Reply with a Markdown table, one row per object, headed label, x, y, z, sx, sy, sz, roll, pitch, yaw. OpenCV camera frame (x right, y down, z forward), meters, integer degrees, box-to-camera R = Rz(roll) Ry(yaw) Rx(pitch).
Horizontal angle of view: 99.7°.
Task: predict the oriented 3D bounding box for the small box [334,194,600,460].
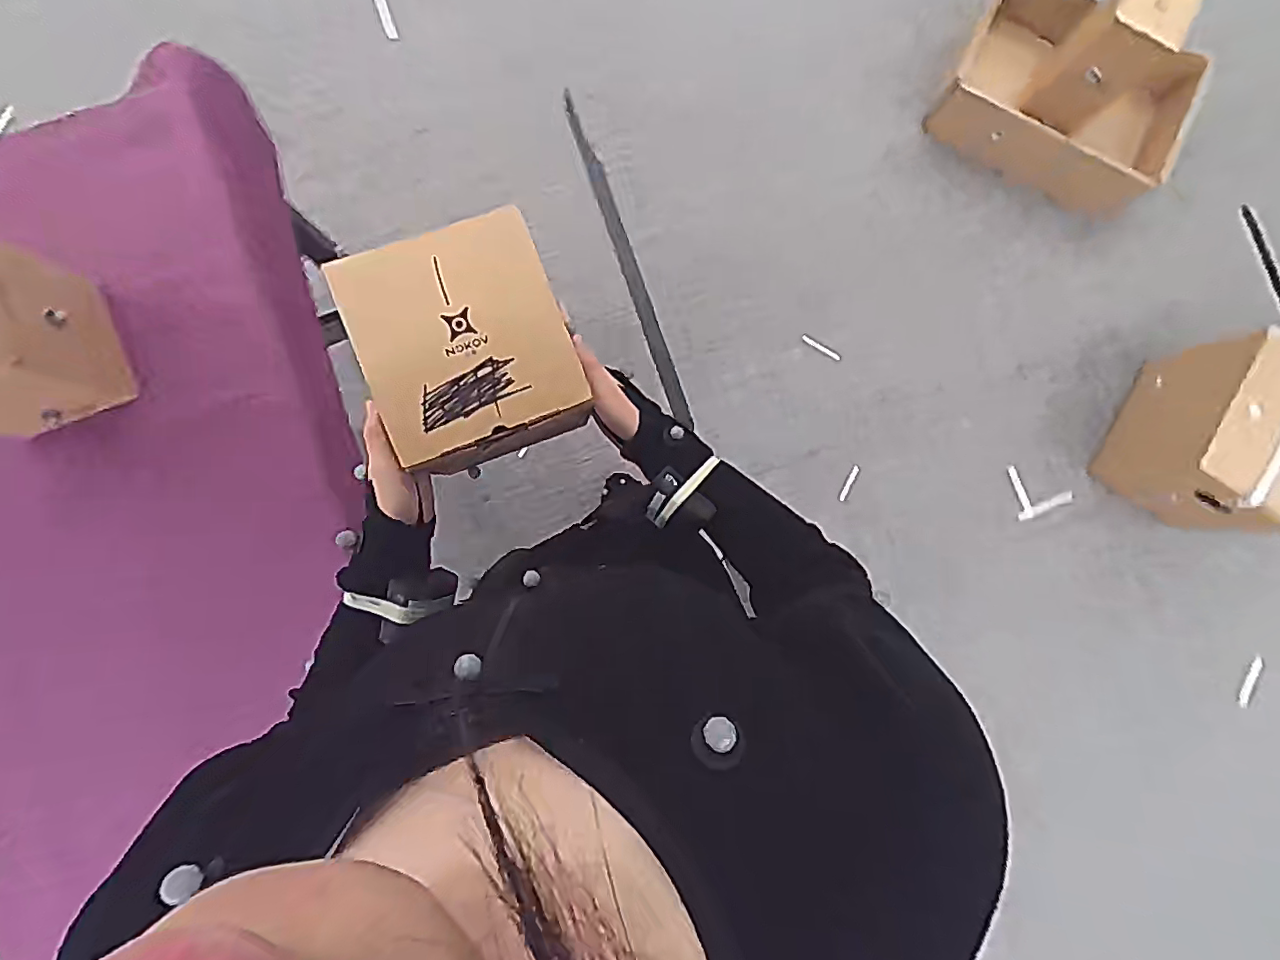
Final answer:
| label | x | y | z | sx | sy | sz | roll | pitch | yaw |
| --- | --- | --- | --- | --- | --- | --- | --- | --- | --- |
| small box | -0.144 | -0.125 | 0.512 | 0.168 | 0.176 | 0.179 | -21 | 91 | -7 |

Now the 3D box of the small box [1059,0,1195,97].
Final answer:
| label | x | y | z | sx | sy | sz | roll | pitch | yaw |
| --- | --- | --- | --- | --- | --- | --- | --- | --- | --- |
| small box | 1.185 | -1.103 | 1.324 | 0.168 | 0.176 | 0.179 | 27 | 87 | 0 |

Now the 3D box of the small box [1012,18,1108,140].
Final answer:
| label | x | y | z | sx | sy | sz | roll | pitch | yaw |
| --- | --- | --- | --- | --- | --- | --- | --- | --- | --- |
| small box | 1.176 | -1.095 | 1.486 | 0.168 | 0.176 | 0.179 | 29 | 87 | -1 |
